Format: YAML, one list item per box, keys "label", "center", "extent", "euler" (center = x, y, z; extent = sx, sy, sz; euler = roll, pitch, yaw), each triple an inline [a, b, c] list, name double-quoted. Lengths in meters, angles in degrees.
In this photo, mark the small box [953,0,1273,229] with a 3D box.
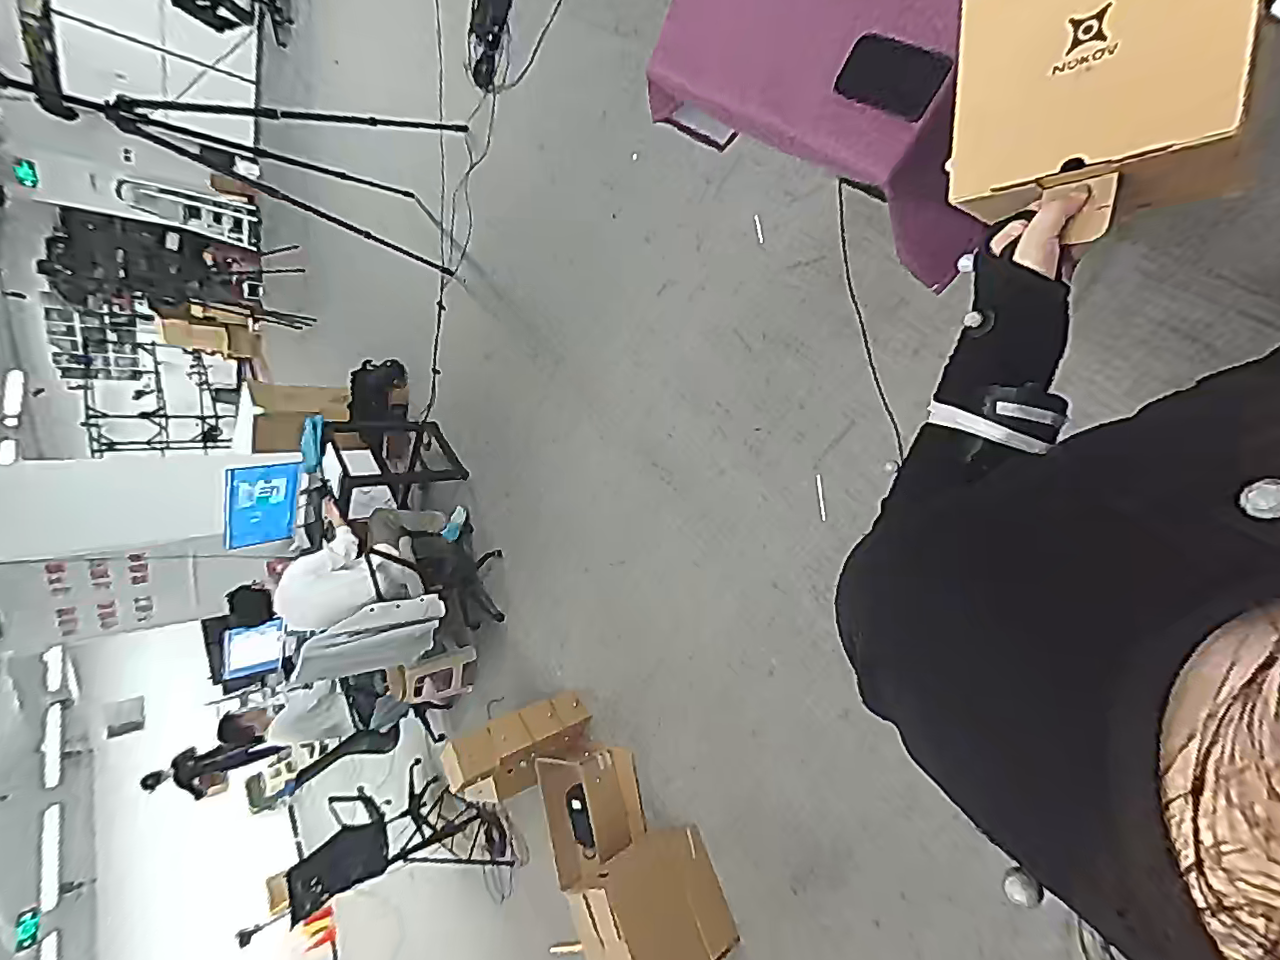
- label: "small box"
  center: [0.379, -0.324, 0.437]
  extent: [0.168, 0.176, 0.179]
  euler: [10, 106, 48]
